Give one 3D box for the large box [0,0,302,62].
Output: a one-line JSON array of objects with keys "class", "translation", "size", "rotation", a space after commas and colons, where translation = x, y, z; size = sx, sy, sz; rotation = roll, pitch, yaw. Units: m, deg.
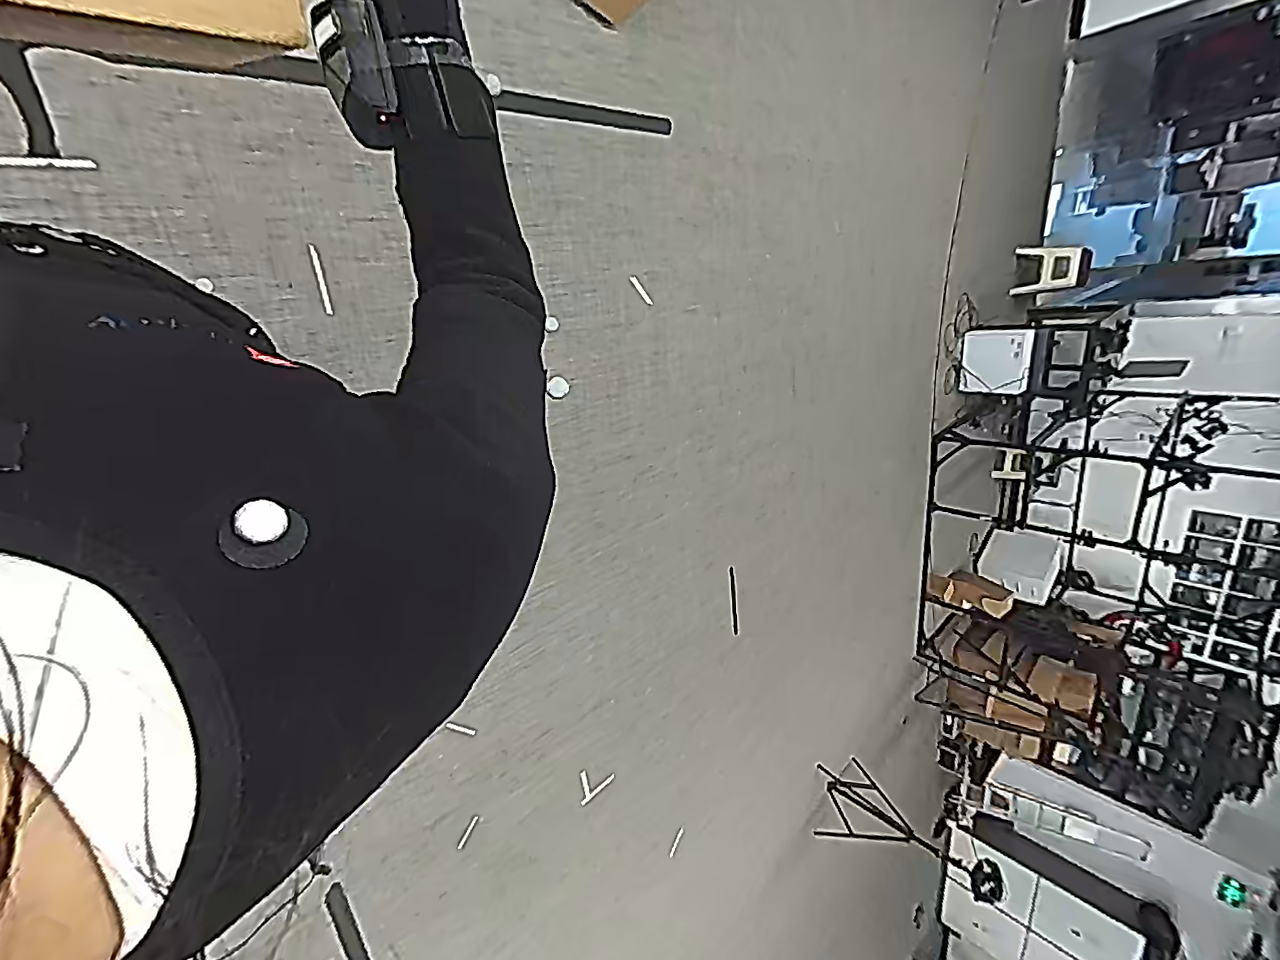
[{"class": "large box", "translation": [-0.451, -0.410, 0.242], "size": [0.408, 0.320, 0.320], "rotation": [-22, 131, -36]}]
